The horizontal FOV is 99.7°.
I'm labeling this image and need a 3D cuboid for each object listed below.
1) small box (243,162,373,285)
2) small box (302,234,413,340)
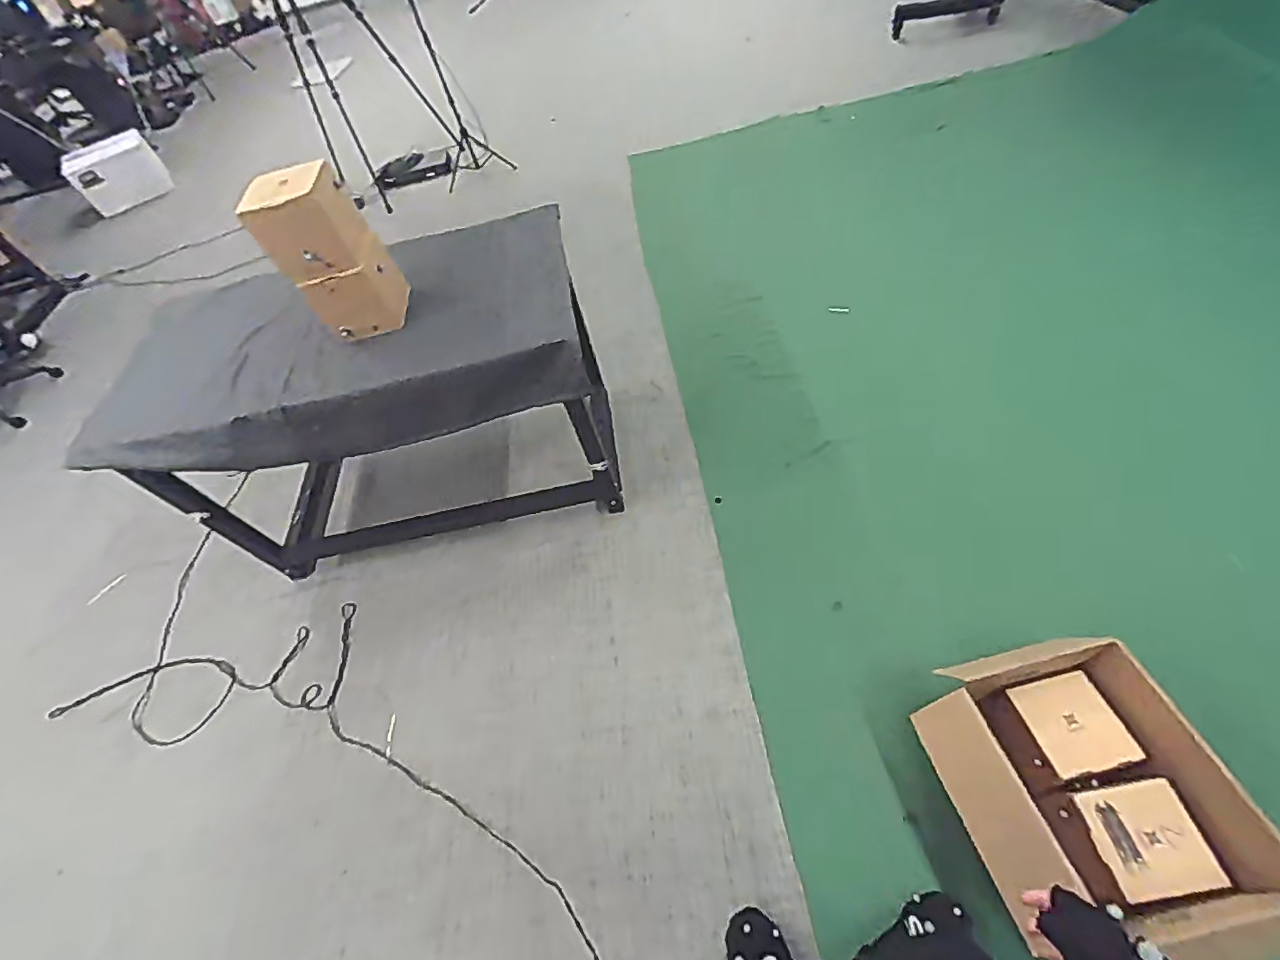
[{"bbox_3d":[-0.725,-0.568,1.205,0.168,0.176,0.179,-15,54,3],"label":"small box"},{"bbox_3d":[-0.679,-0.465,1.326,0.168,0.176,0.179,-13,52,4],"label":"small box"}]
